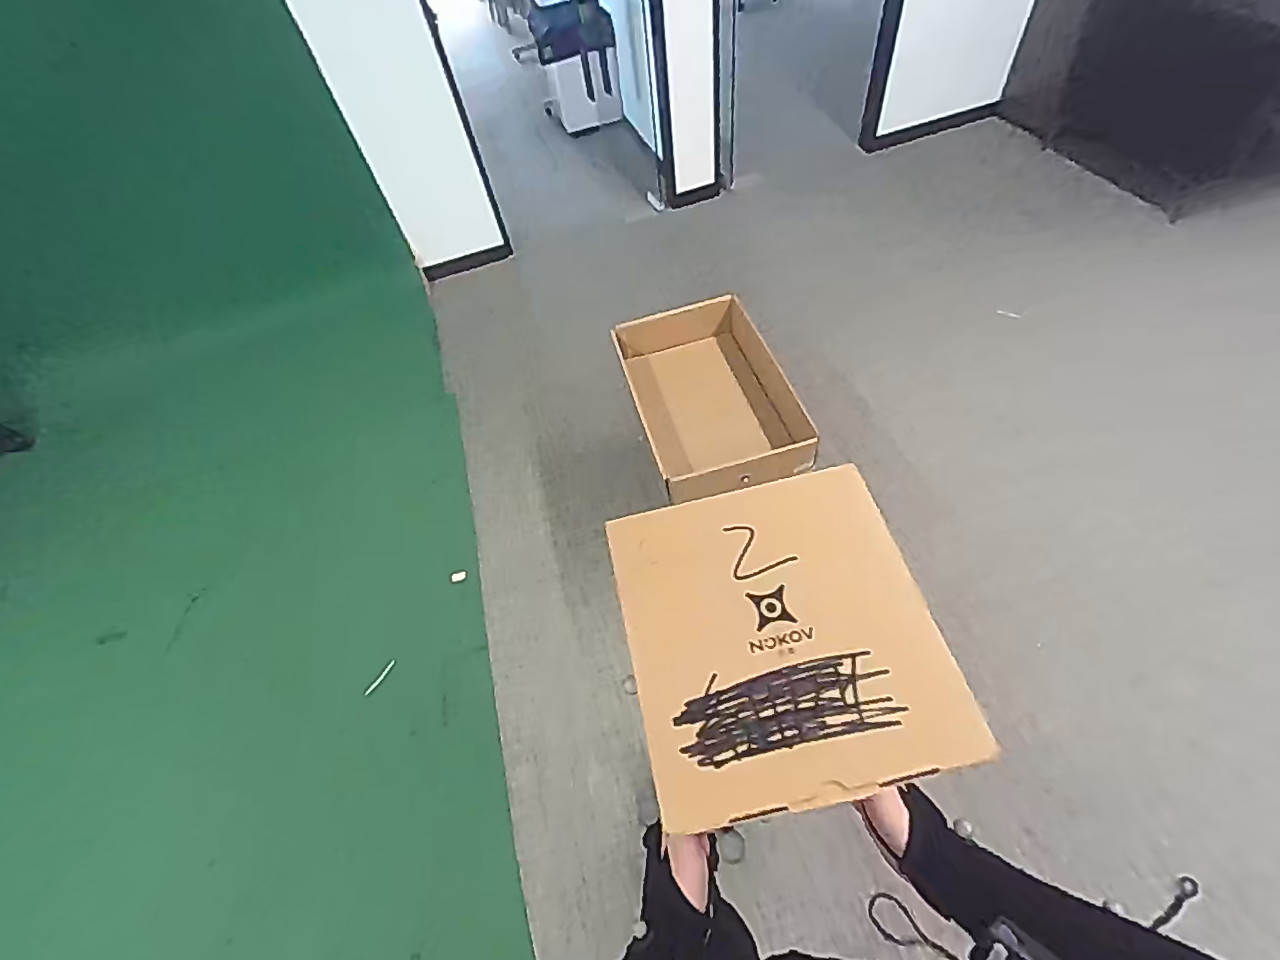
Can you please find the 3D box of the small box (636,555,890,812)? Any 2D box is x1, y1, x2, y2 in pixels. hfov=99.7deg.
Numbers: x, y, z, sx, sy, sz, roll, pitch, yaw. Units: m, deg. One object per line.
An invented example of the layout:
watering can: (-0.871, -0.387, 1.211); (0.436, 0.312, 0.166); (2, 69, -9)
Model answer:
small box: (0.099, 0.199, 0.514); (0.168, 0.176, 0.179); (-14, 58, -1)
